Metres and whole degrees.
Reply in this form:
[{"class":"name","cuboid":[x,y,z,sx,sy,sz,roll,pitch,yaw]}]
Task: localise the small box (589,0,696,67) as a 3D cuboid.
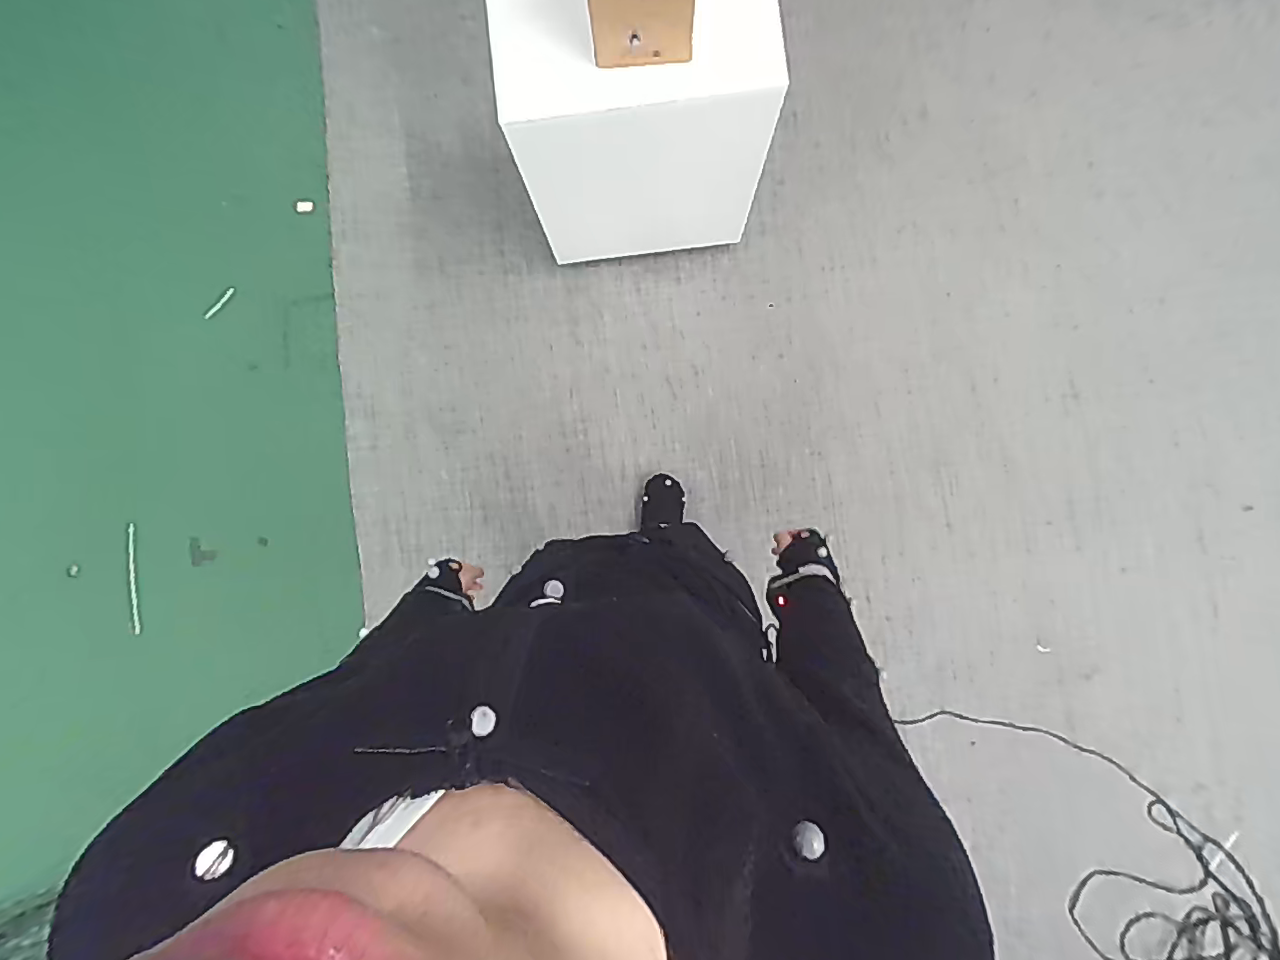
[{"class":"small box","cuboid":[0.001,-0.802,0.851,0.168,0.176,0.179,-3,86,2]}]
